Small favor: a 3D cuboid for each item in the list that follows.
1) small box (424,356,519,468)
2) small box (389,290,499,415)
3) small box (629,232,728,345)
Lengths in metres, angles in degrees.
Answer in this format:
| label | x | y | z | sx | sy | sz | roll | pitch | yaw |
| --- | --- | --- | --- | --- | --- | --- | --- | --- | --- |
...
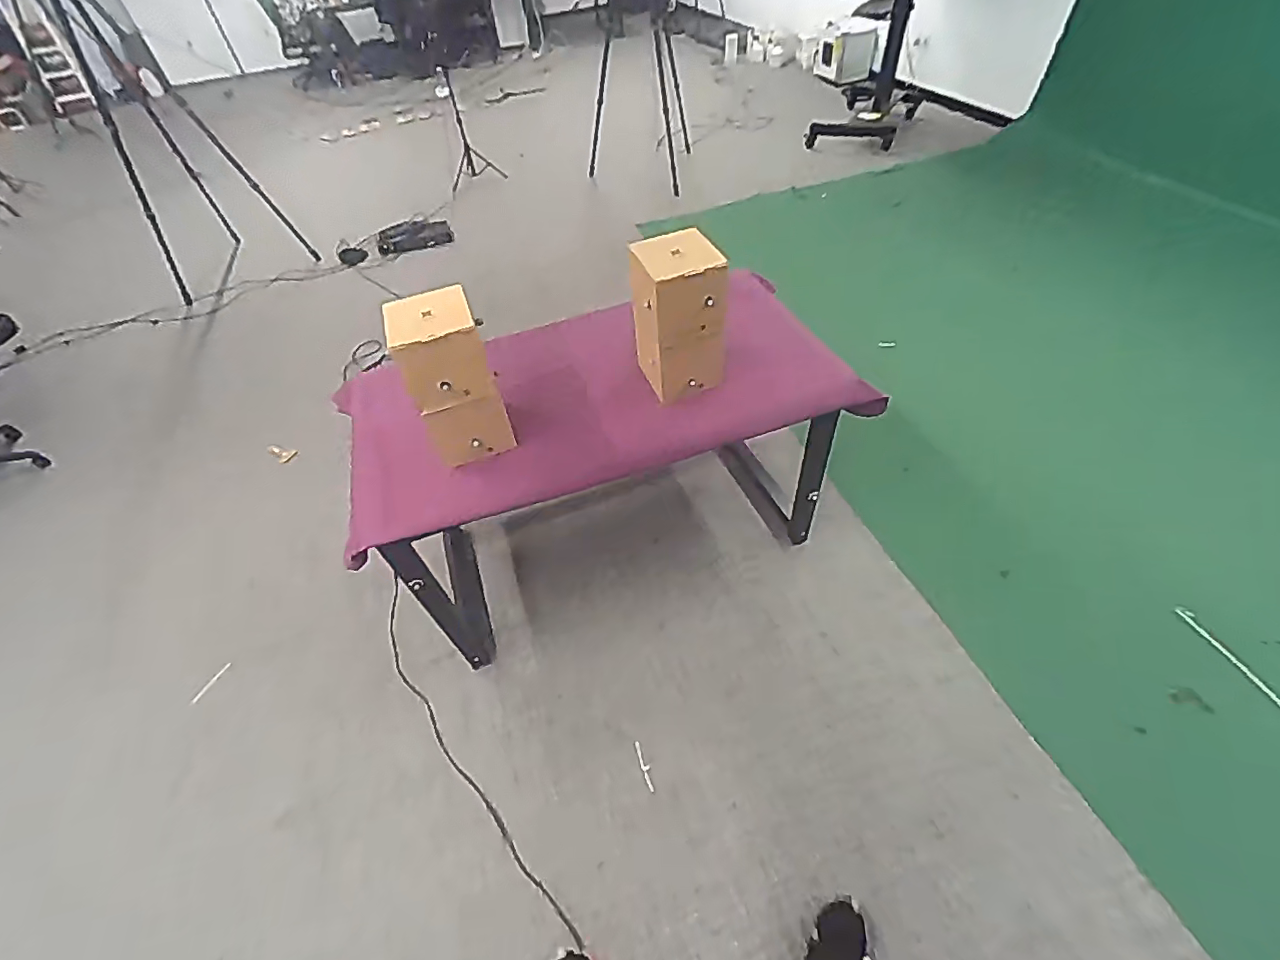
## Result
| label | x | y | z | sx | sy | sz | roll | pitch | yaw |
| --- | --- | --- | --- | --- | --- | --- | --- | --- | --- |
| small box | -0.395 | -0.159 | 1.257 | 0.168 | 0.176 | 0.179 | -19 | 50 | -9 |
| small box | -0.409 | -0.266 | 1.136 | 0.168 | 0.176 | 0.179 | -19 | 50 | -10 |
| small box | 0.087 | -0.421 | 1.209 | 0.168 | 0.176 | 0.179 | -18 | 50 | -9 |
